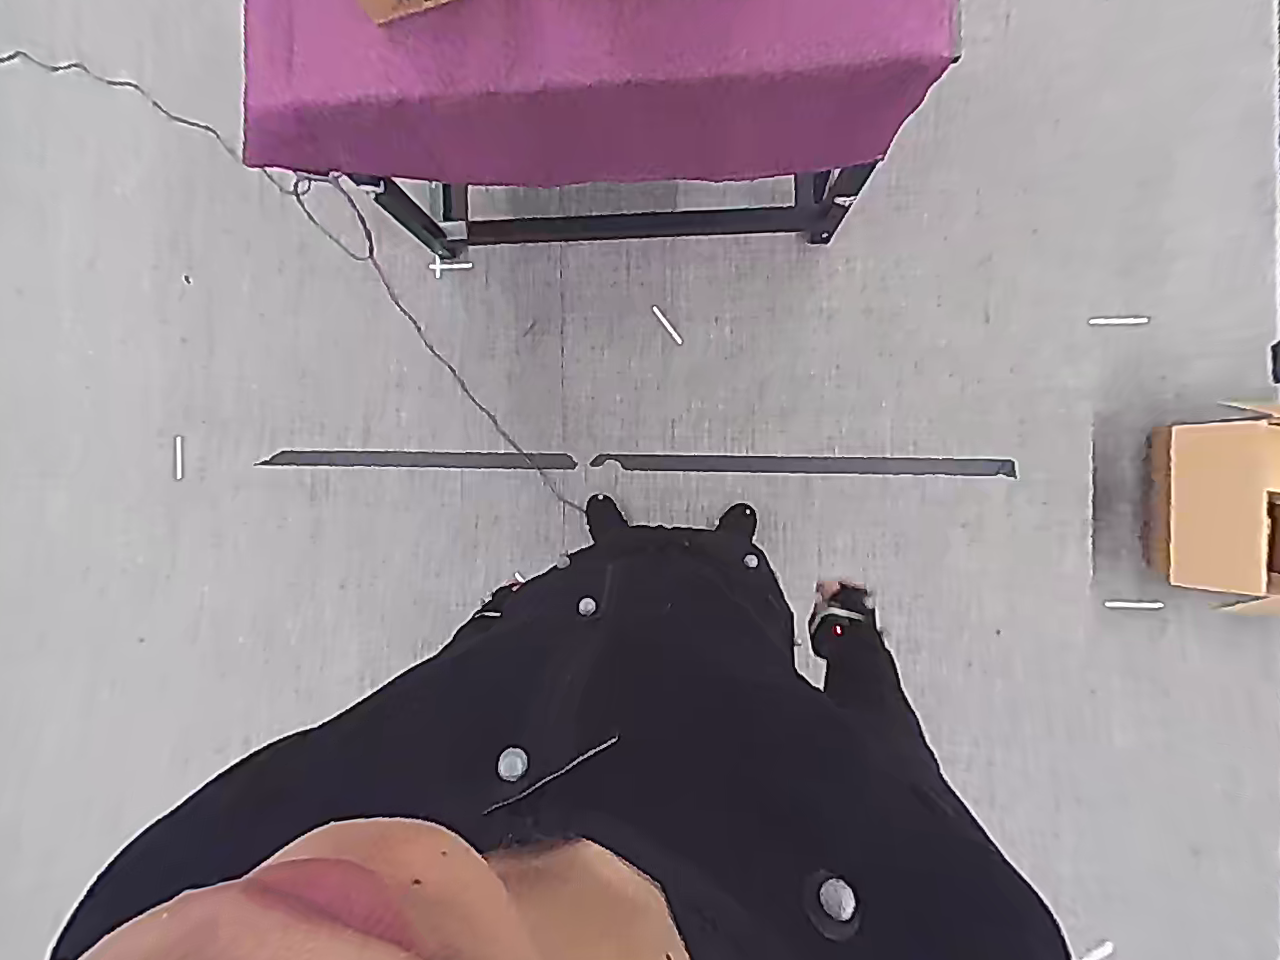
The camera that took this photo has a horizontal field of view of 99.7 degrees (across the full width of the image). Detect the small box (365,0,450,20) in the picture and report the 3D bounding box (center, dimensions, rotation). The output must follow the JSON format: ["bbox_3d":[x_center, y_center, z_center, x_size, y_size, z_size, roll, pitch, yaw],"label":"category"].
[{"bbox_3d":[-0.402,-0.881,0.836,0.168,0.176,0.179,-14,90,5],"label":"small box"}]
